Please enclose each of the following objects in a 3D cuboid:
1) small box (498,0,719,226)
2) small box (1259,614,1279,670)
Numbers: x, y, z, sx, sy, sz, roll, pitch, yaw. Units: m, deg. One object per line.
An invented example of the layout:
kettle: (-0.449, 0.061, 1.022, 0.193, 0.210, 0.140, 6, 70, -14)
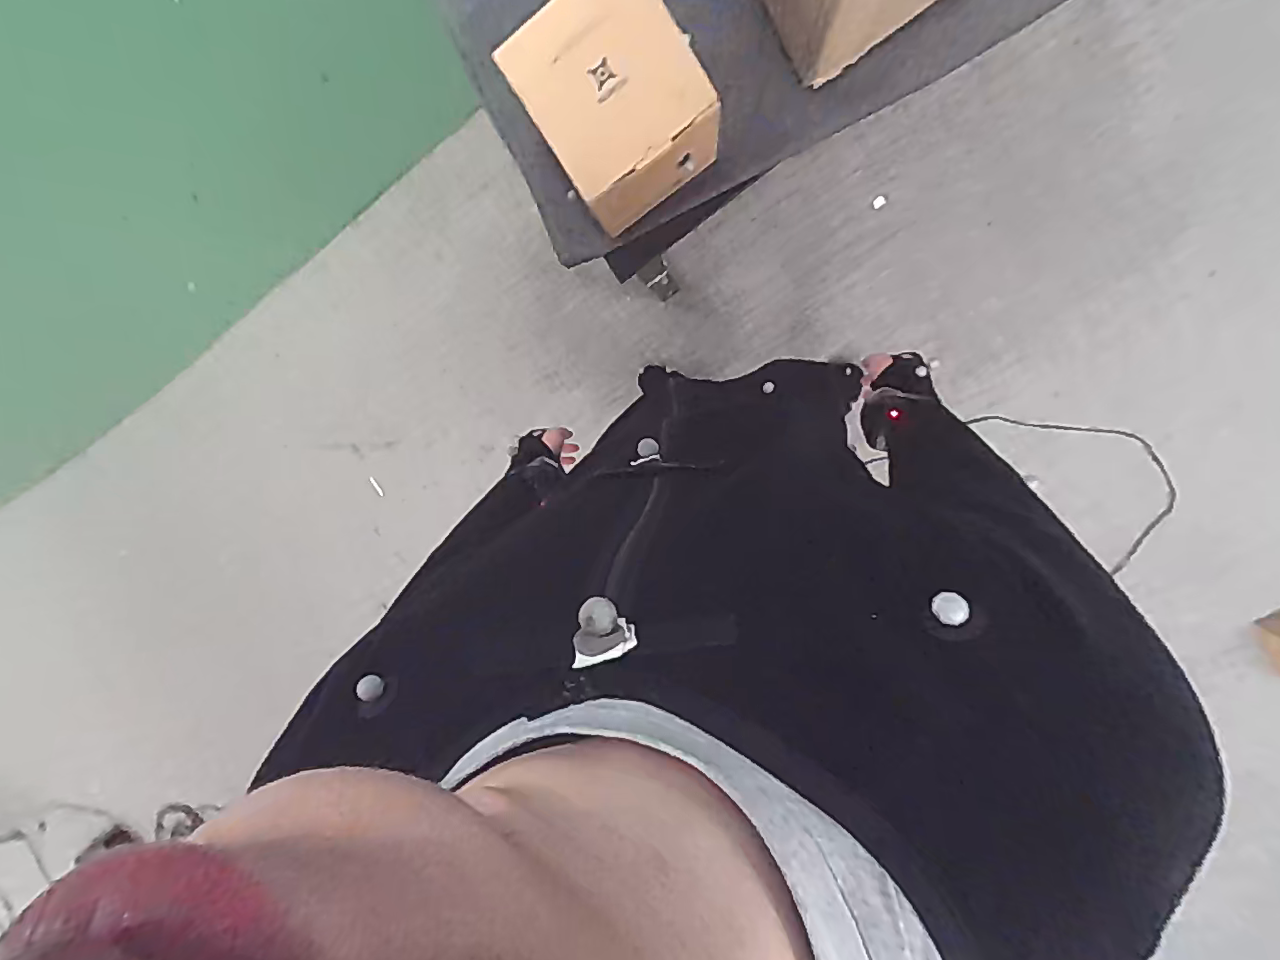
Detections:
small box: (-0.024, -0.422, 0.624, 0.168, 0.176, 0.179, -34, 96, 11)
small box: (1.765, 0.434, 1.377, 0.168, 0.176, 0.179, -32, 97, 12)
